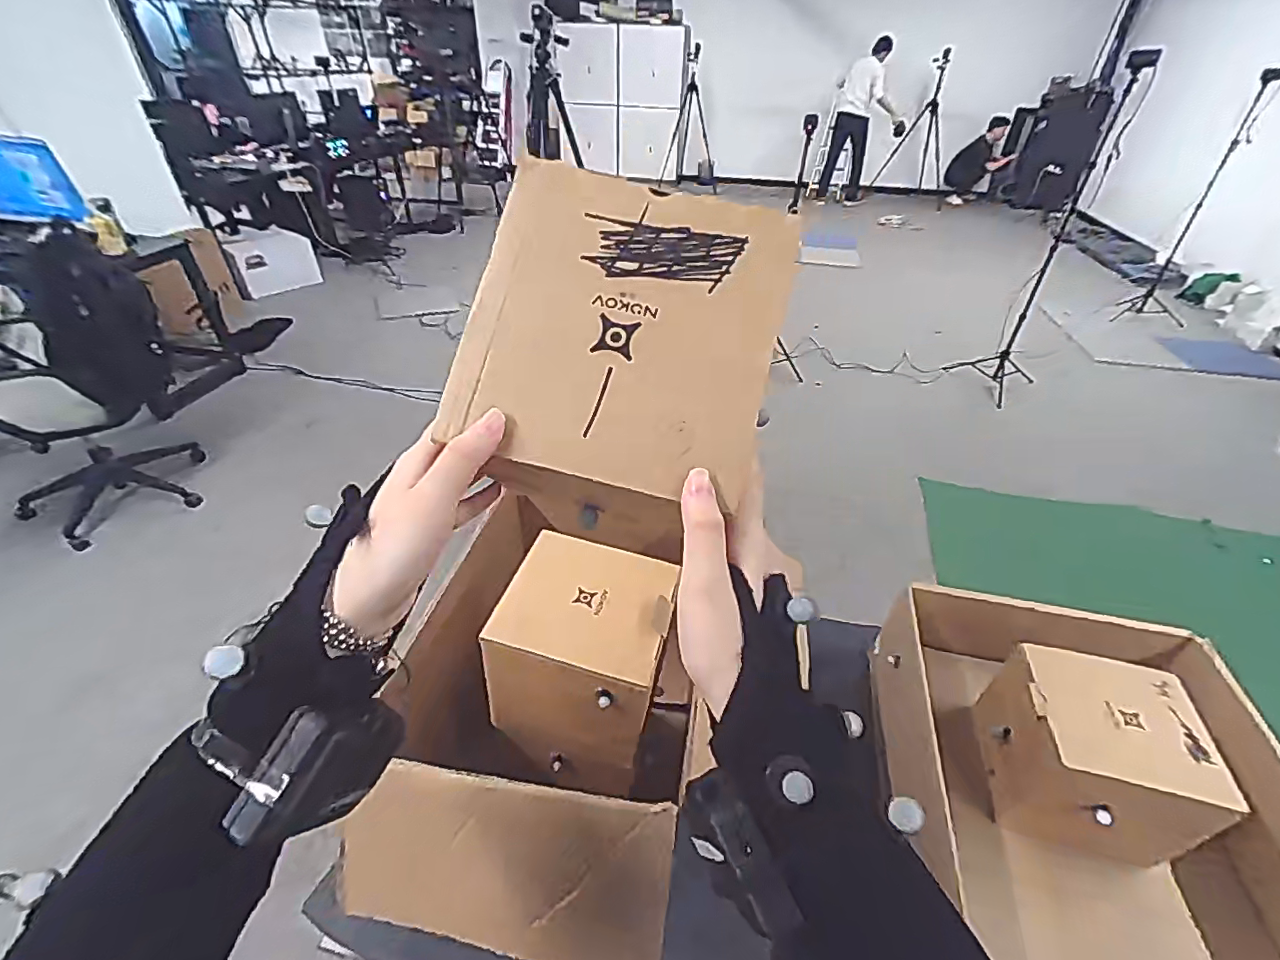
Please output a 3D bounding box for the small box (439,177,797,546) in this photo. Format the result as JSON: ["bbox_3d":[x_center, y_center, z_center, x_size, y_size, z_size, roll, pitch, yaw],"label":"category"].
[{"bbox_3d":[-0.008,-0.062,0.377,0.168,0.176,0.179,14,79,4],"label":"small box"}]

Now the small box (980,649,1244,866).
[{"bbox_3d":[0.551,0.343,0.672,0.179,0.176,0.168,9,39,13],"label":"small box"}]
